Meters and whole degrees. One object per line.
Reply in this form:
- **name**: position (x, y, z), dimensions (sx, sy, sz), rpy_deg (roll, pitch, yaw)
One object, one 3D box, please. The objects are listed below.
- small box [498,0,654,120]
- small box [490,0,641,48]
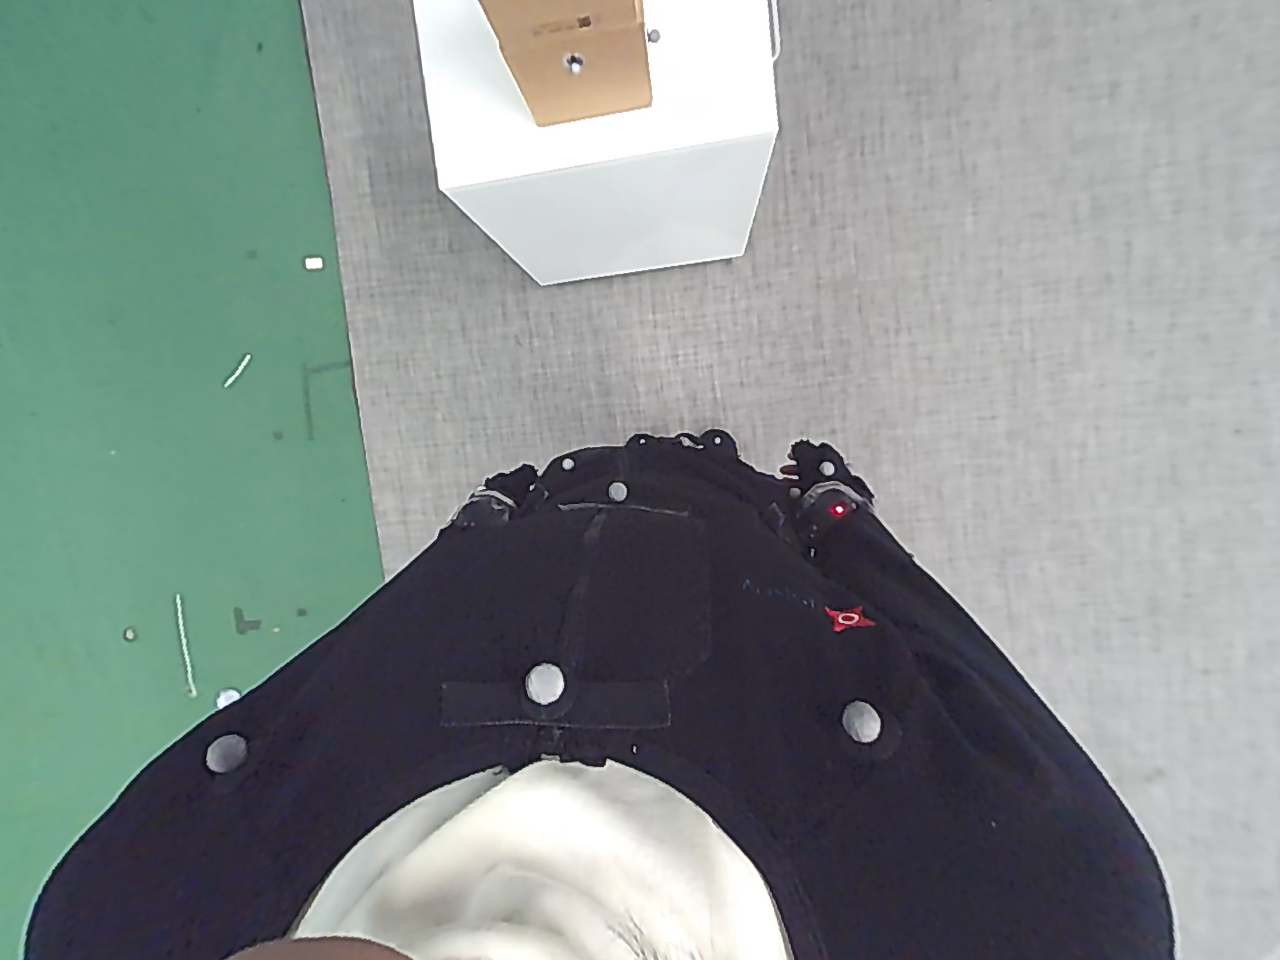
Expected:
- **small box**: position (-0.080, -0.608, 0.708), dimensions (0.179, 0.176, 0.168), rpy_deg (-6, 95, 5)
- **small box**: position (-0.094, -0.597, 0.547), dimensions (0.168, 0.176, 0.179), rpy_deg (-7, 95, 5)
